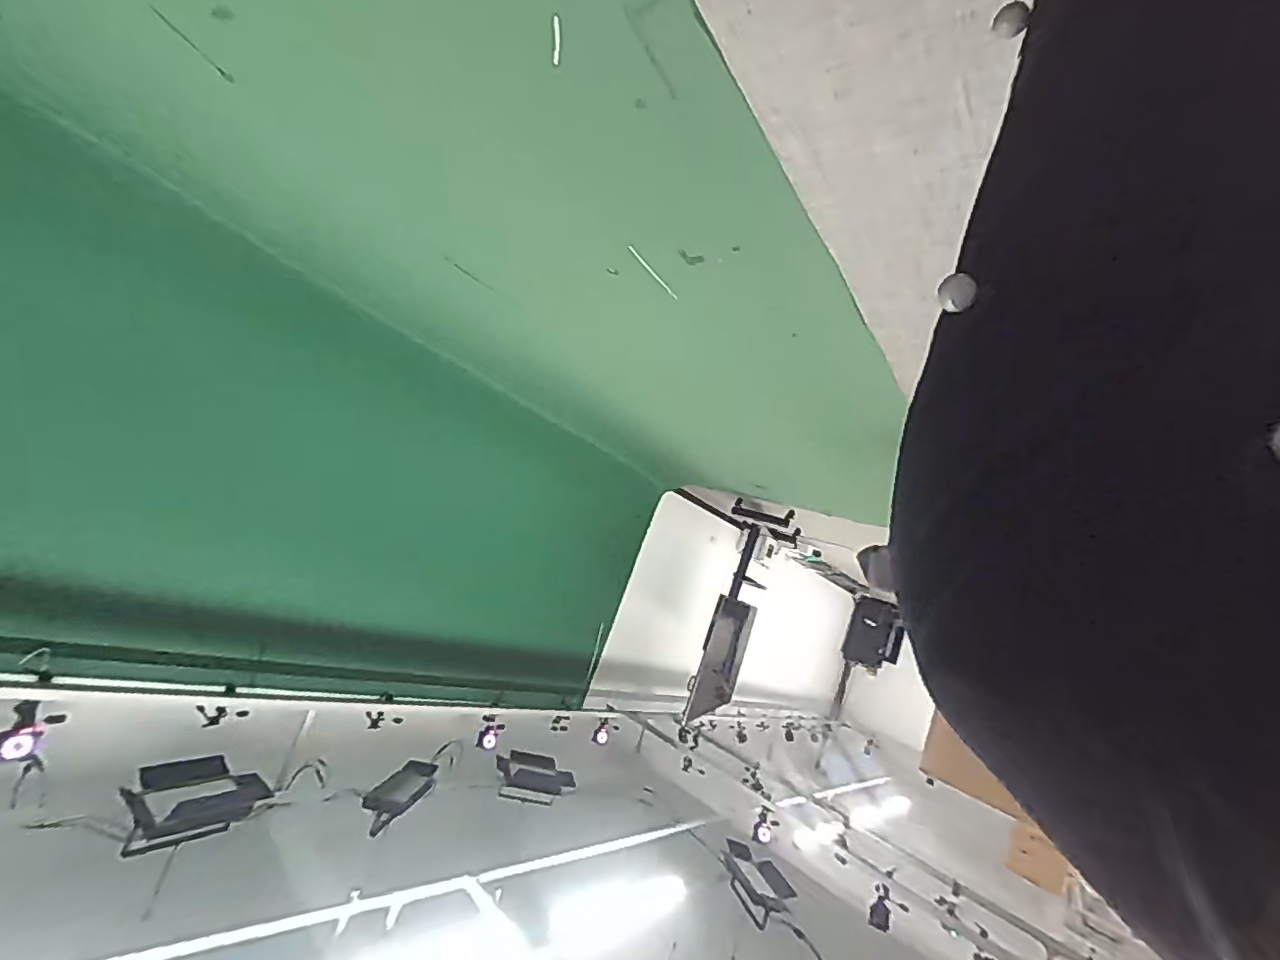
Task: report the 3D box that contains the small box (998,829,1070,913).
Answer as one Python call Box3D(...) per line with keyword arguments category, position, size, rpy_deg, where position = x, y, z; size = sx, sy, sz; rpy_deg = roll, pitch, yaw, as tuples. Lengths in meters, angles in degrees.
Box3D(category="small box", position=(1.360, 1.339, 1.865), size=(0.168, 0.176, 0.179), rpy_deg=(13, 167, 45))
